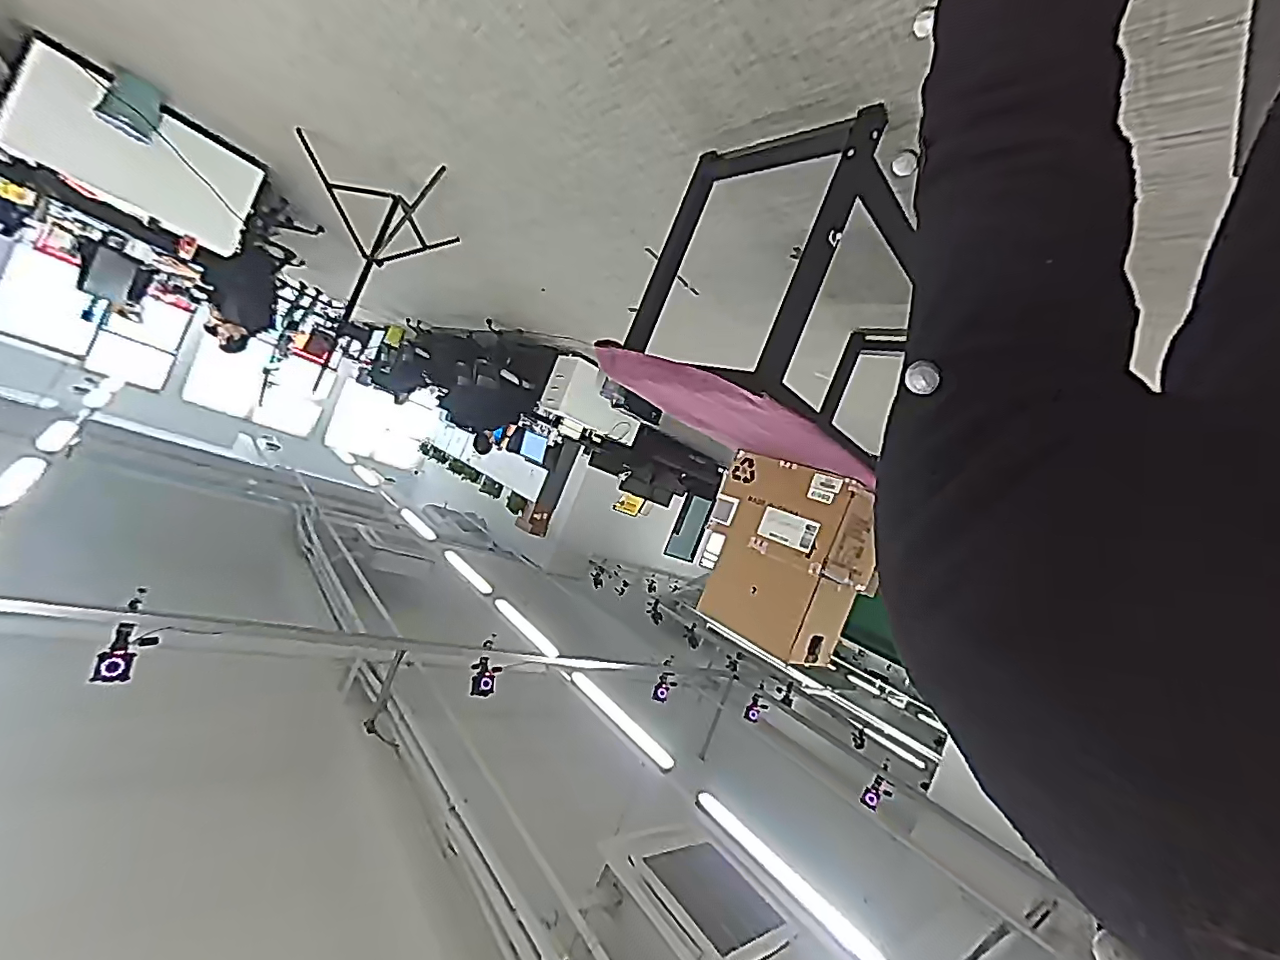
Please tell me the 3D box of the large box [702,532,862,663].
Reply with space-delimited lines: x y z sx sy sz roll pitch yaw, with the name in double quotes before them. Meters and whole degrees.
"large box" 0.503 0.413 1.940 0.320 0.320 0.408 21 180 -42
